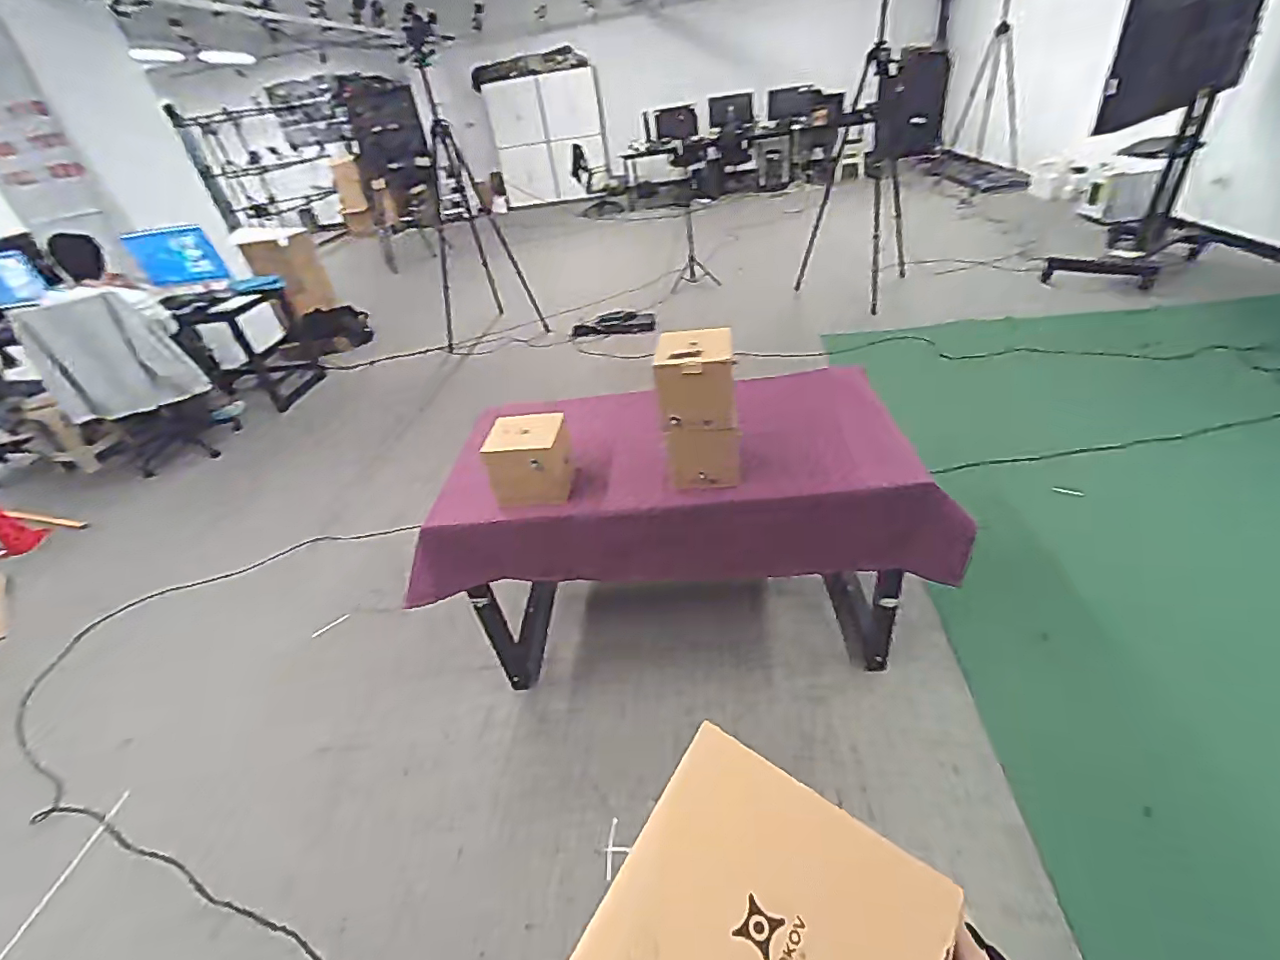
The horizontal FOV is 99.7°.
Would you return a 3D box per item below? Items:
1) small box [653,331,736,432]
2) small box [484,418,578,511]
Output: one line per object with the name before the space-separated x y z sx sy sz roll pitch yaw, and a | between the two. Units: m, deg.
small box | 0.130 -0.218 1.225 0.168 0.176 0.179 -3 35 11
small box | -0.264 -0.037 1.362 0.179 0.176 0.168 -4 35 9
